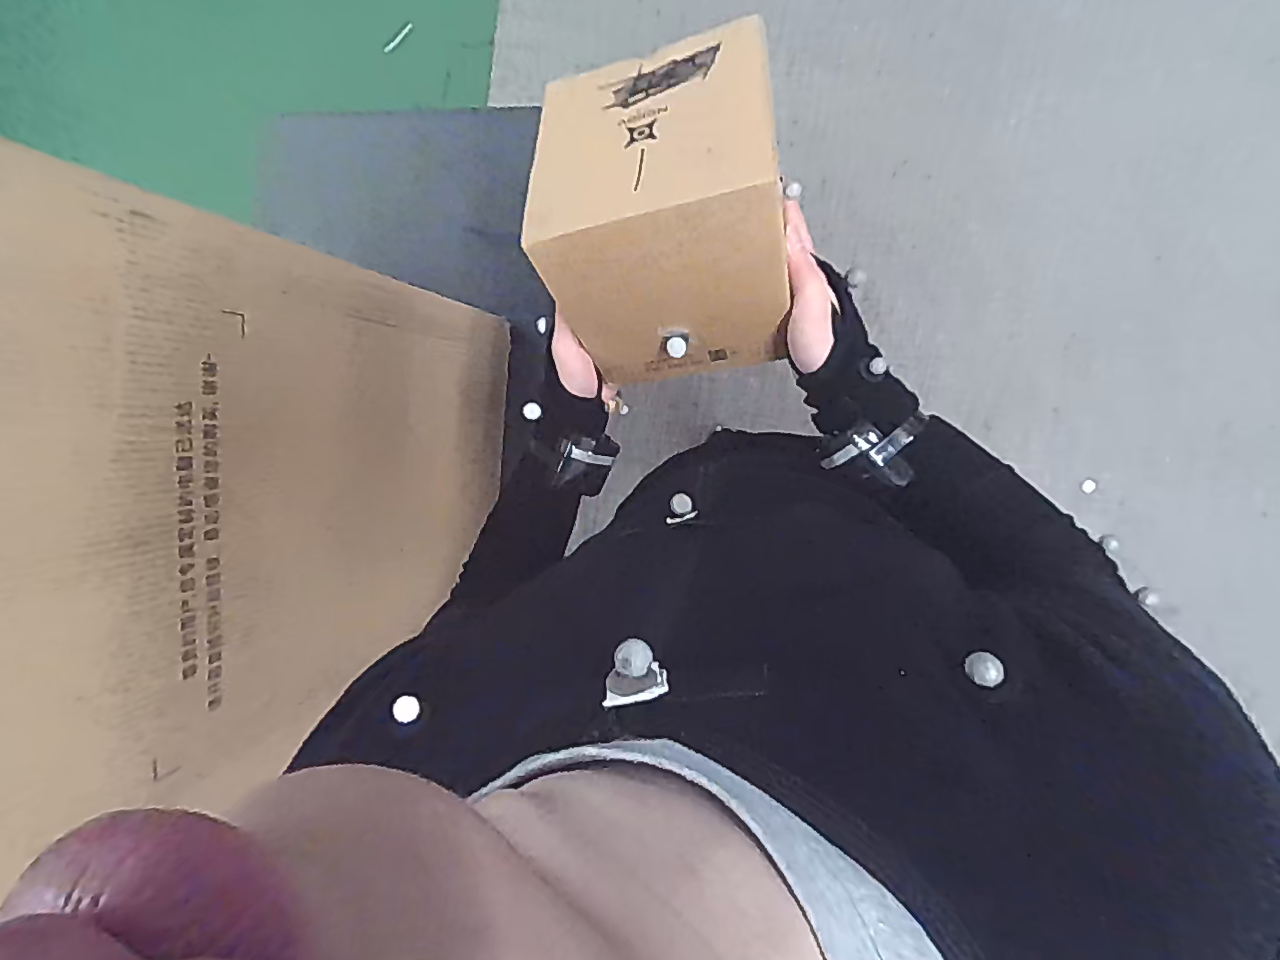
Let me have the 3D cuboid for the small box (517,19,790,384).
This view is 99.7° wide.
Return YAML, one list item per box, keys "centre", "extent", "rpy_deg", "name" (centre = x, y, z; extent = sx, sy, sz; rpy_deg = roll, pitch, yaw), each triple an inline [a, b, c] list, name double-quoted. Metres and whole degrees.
- centre: [0.027, -0.201, 0.429]
  extent: [0.168, 0.176, 0.179]
  rpy_deg: [-5, 65, 18]
  name: "small box"
